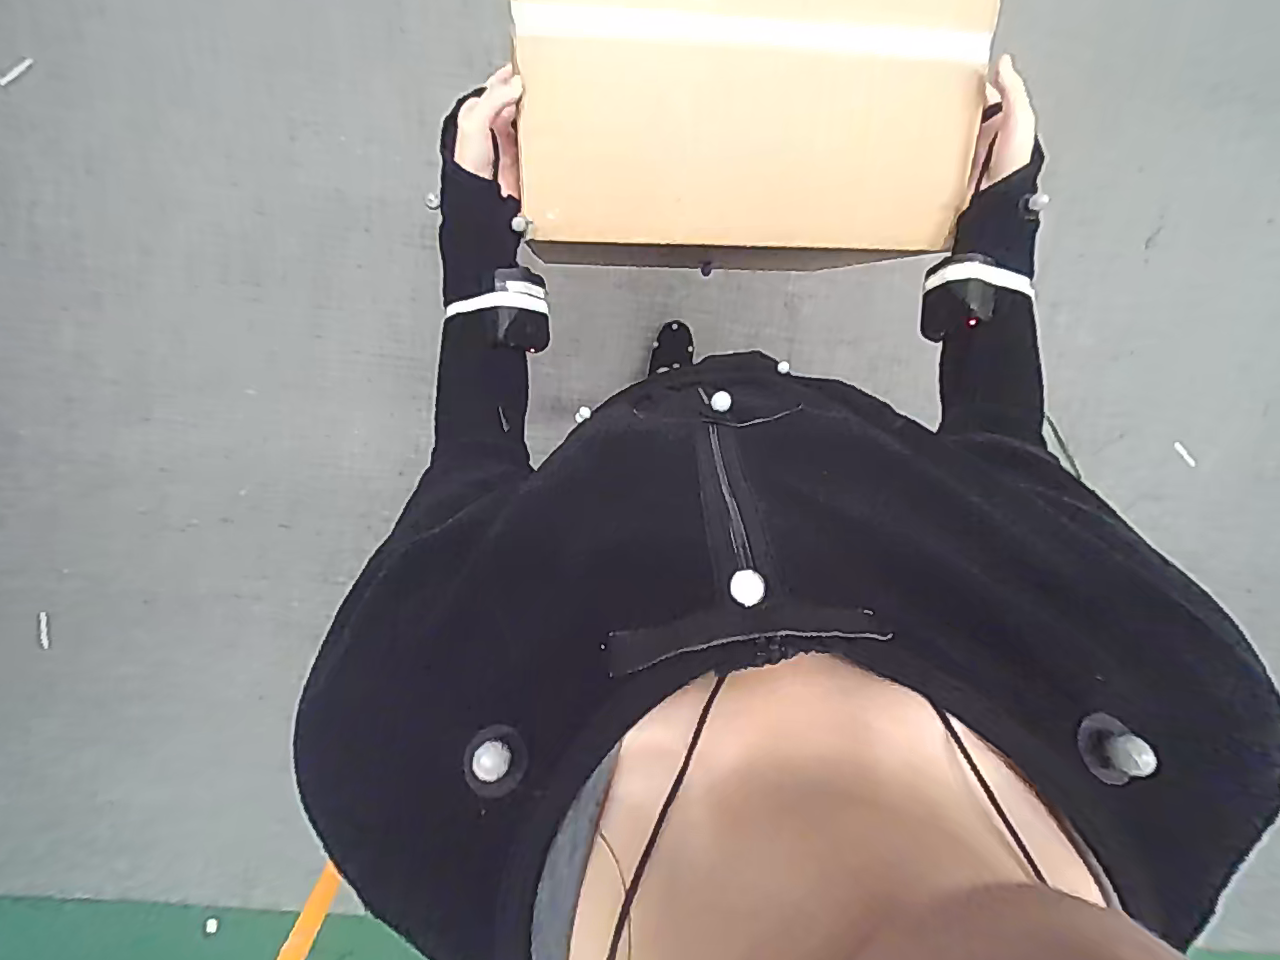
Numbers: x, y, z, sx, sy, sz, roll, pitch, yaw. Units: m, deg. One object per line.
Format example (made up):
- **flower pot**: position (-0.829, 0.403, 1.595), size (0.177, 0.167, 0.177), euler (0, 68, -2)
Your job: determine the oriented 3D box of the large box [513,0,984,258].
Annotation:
- **large box**: position (0.083, -0.417, 0.596), size (0.408, 0.320, 0.320), euler (-1, 108, -6)
